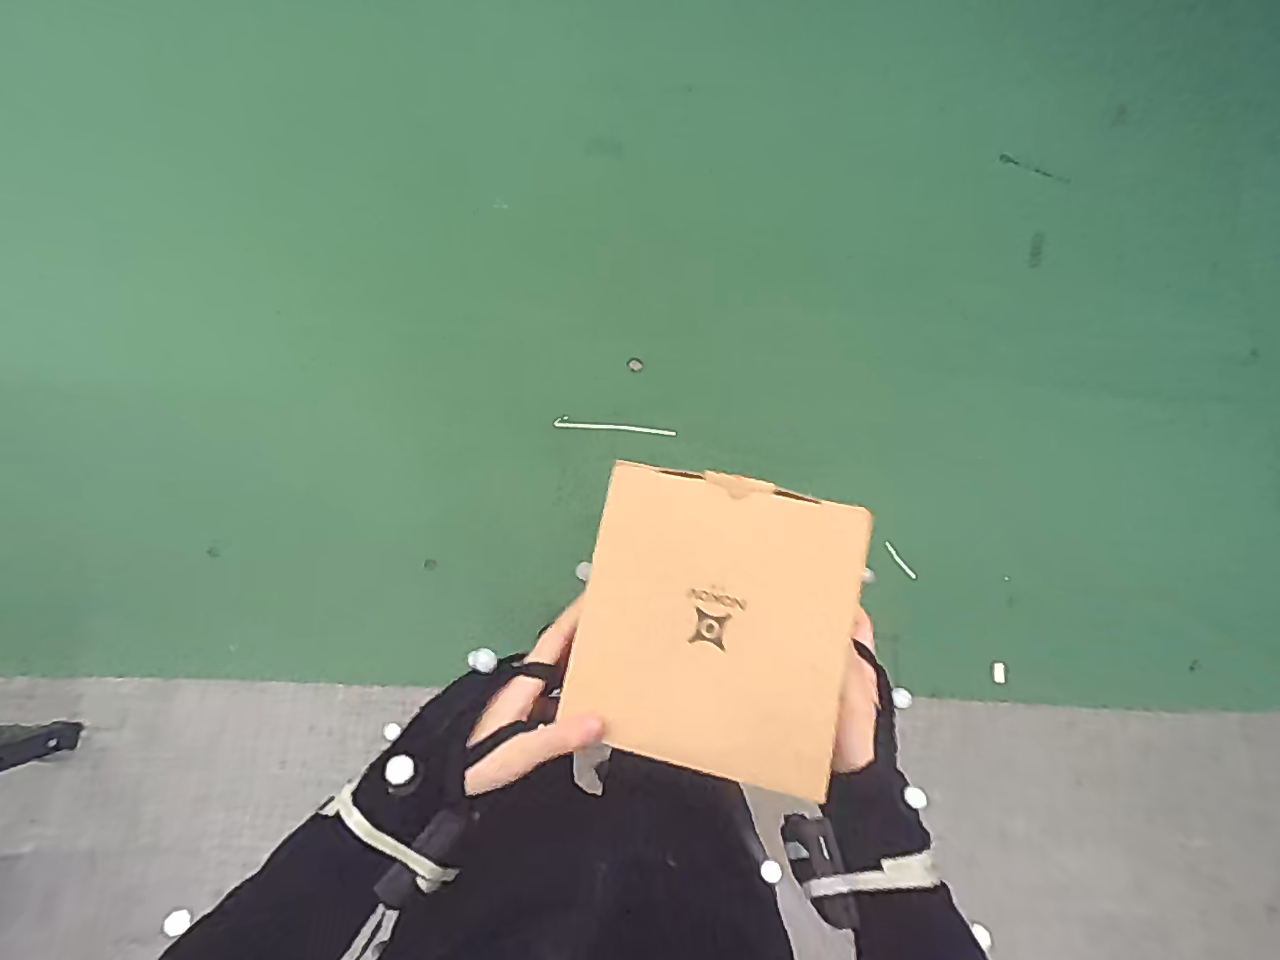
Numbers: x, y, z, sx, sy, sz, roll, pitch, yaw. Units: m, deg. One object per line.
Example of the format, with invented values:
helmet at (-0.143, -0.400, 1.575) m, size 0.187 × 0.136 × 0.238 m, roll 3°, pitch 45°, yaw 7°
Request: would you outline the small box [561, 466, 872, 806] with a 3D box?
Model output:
small box at (0.057, 0.102, 0.414) m, size 0.168 × 0.176 × 0.179 m, roll 12°, pitch 83°, yaw 9°
